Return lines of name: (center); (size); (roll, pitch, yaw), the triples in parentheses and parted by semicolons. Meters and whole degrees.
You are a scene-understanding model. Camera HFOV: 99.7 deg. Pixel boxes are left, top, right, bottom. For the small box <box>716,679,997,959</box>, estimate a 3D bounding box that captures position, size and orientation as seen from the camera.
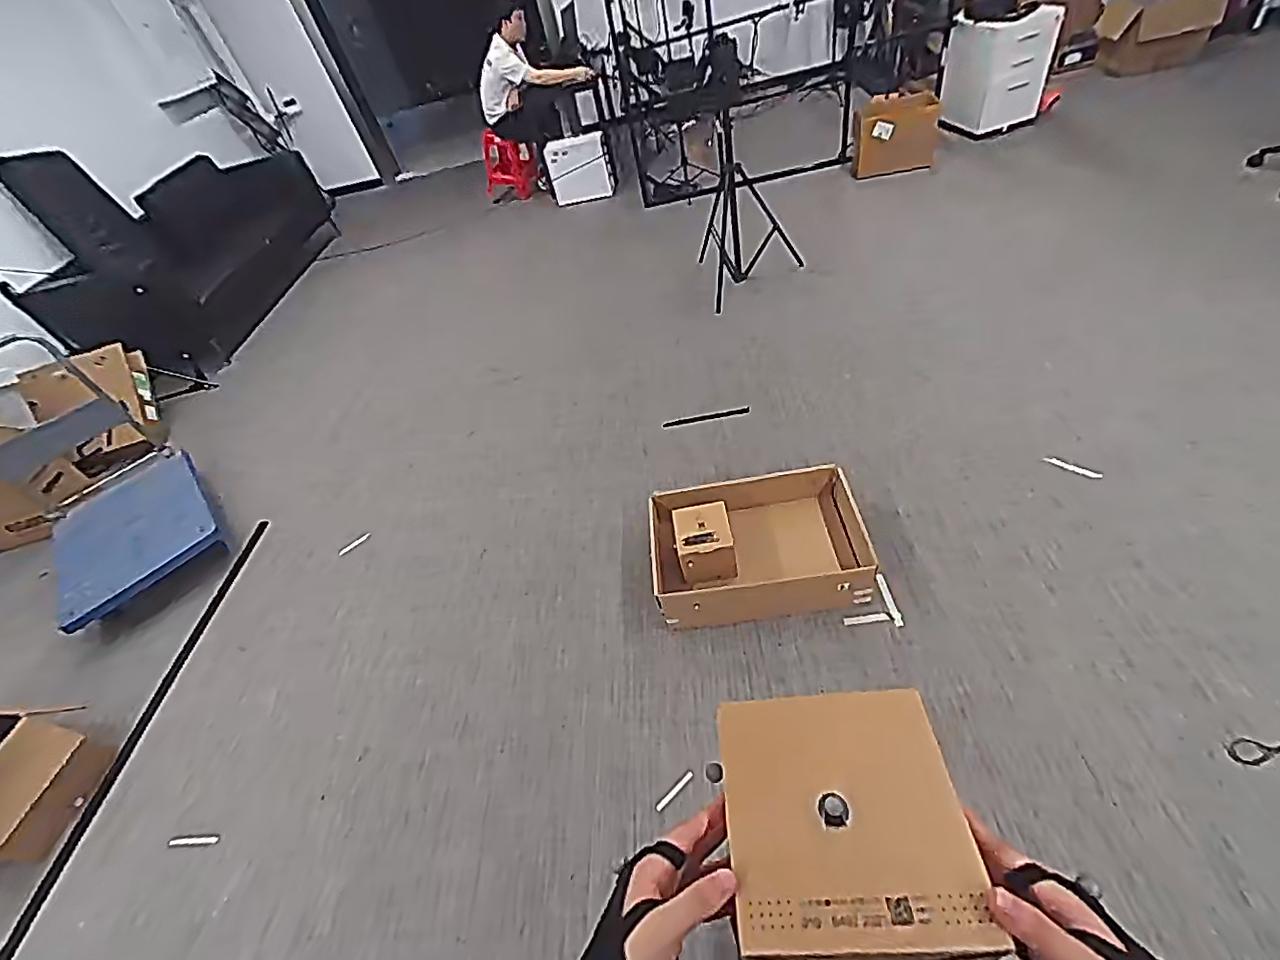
small box: (0.162, 0.291, 0.451); (0.168, 0.179, 0.176); (-8, 43, 9)
